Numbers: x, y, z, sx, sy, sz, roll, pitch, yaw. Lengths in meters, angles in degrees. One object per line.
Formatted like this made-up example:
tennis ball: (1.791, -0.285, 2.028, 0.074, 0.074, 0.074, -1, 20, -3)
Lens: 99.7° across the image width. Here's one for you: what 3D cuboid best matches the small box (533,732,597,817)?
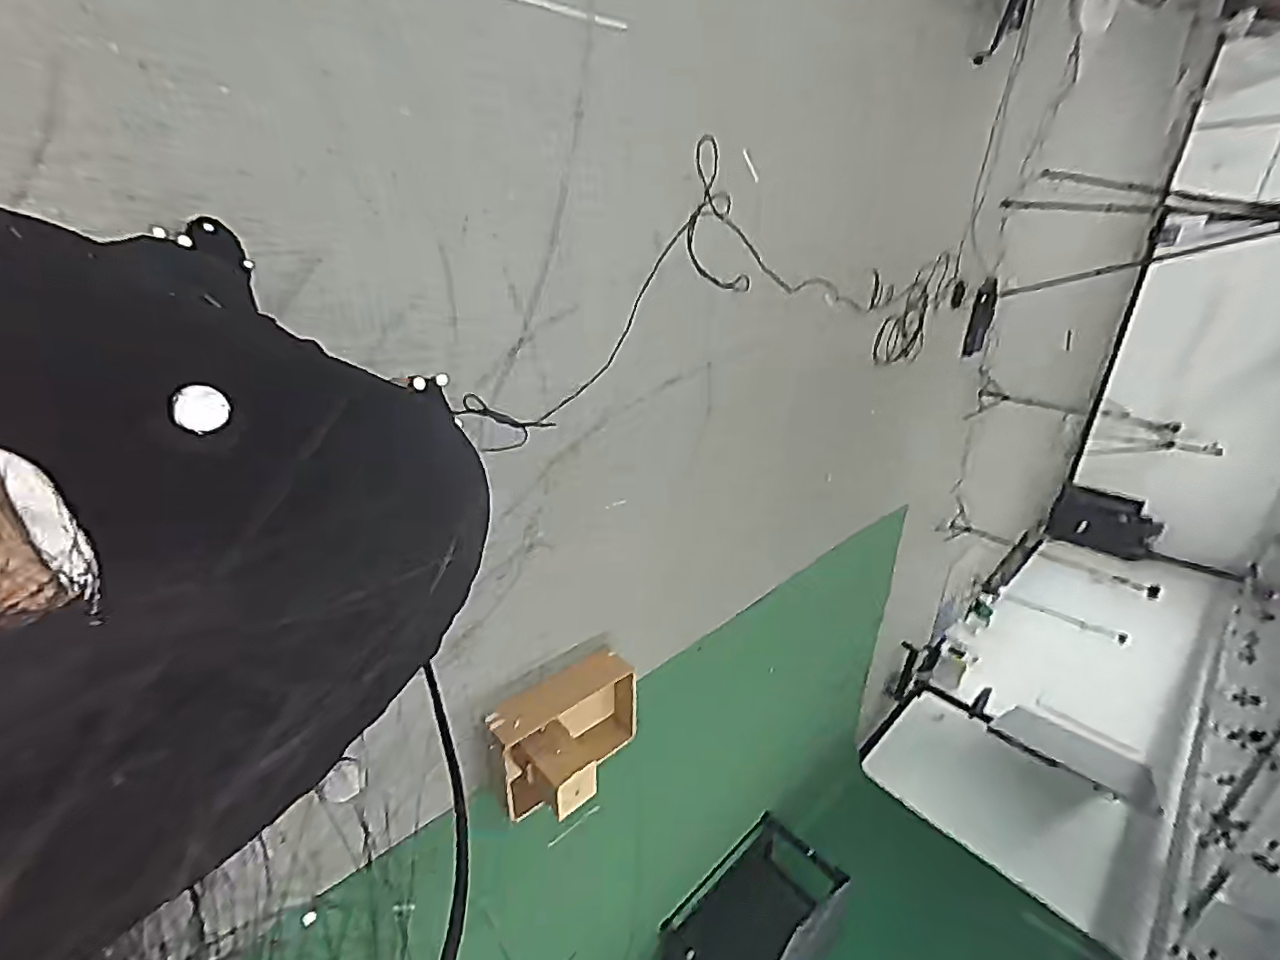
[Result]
small box: (-0.273, 1.066, 1.973, 0.168, 0.176, 0.179, -20, 120, -39)
